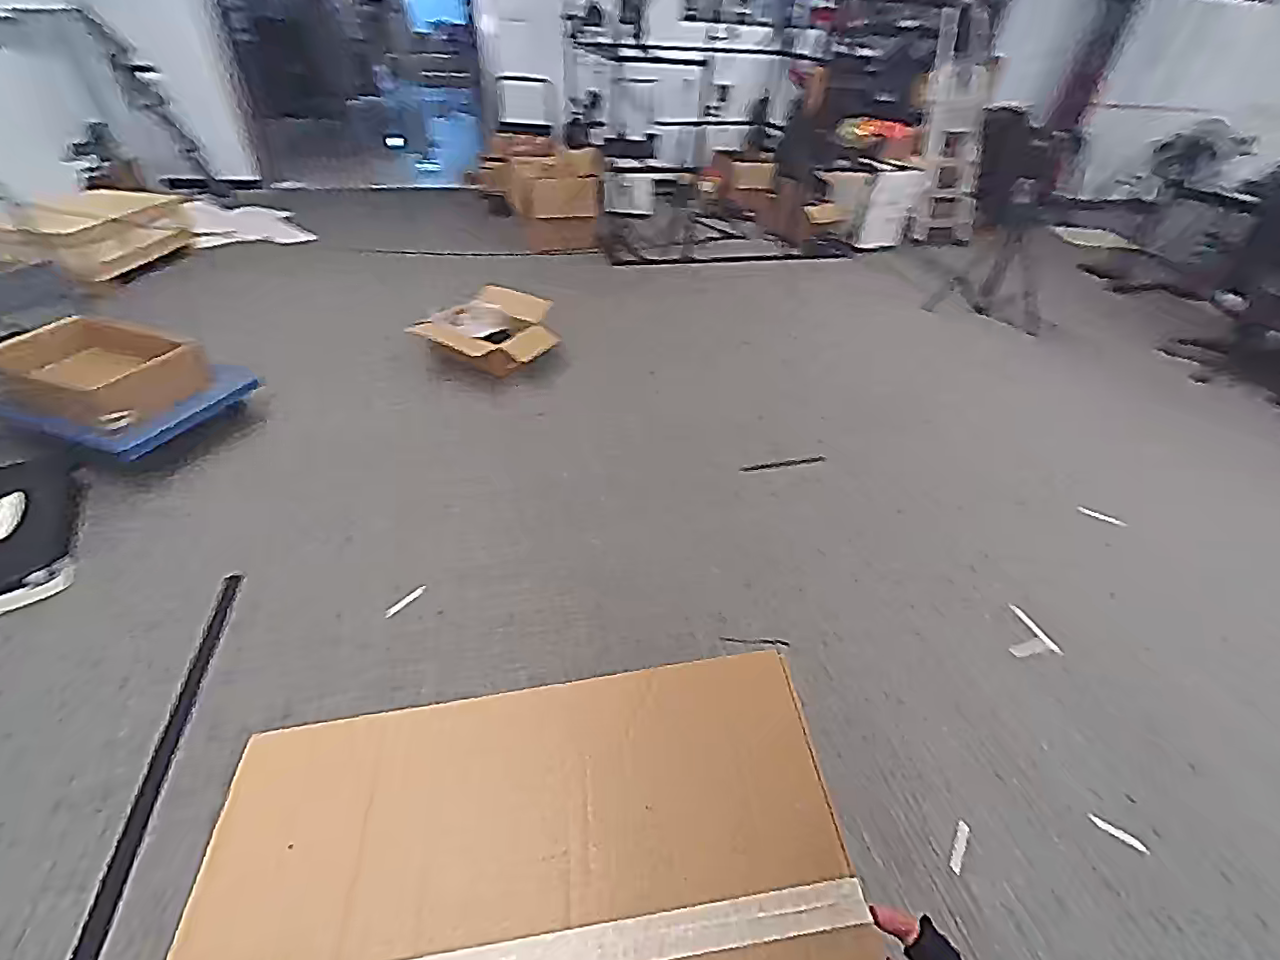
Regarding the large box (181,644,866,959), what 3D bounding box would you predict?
[{"bbox_3d":[-0.061,0.373,0.425,0.408,0.320,0.320,-10,46,-2],"label":"large box"}]
